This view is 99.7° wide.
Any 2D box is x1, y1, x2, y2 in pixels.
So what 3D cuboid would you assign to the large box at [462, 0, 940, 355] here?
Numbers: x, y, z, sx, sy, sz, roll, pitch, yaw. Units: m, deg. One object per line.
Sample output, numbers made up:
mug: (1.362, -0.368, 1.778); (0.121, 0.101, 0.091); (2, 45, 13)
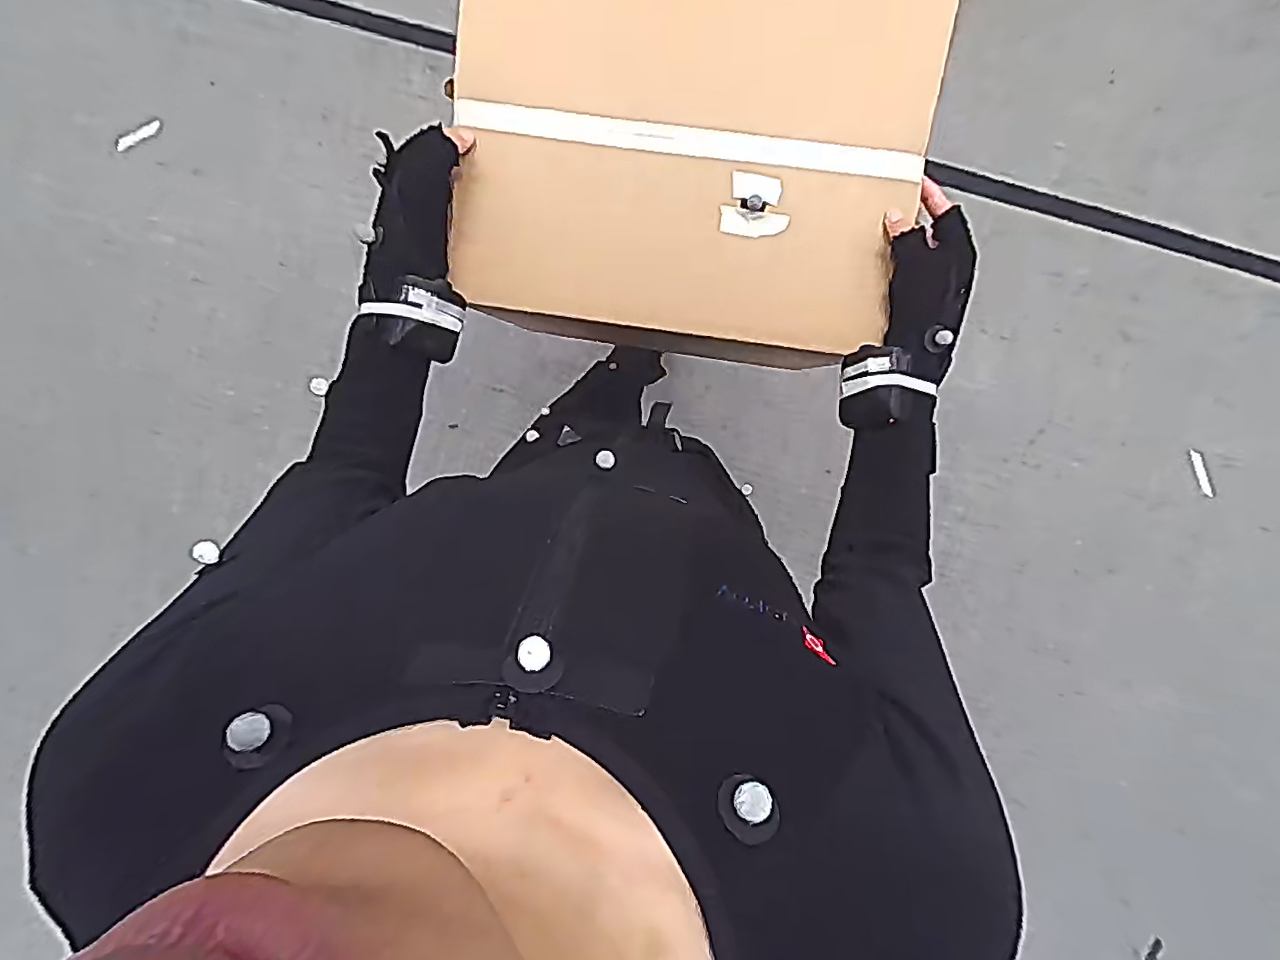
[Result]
large box: (0.047, -0.332, 0.631); (0.408, 0.320, 0.320); (8, 101, 1)
